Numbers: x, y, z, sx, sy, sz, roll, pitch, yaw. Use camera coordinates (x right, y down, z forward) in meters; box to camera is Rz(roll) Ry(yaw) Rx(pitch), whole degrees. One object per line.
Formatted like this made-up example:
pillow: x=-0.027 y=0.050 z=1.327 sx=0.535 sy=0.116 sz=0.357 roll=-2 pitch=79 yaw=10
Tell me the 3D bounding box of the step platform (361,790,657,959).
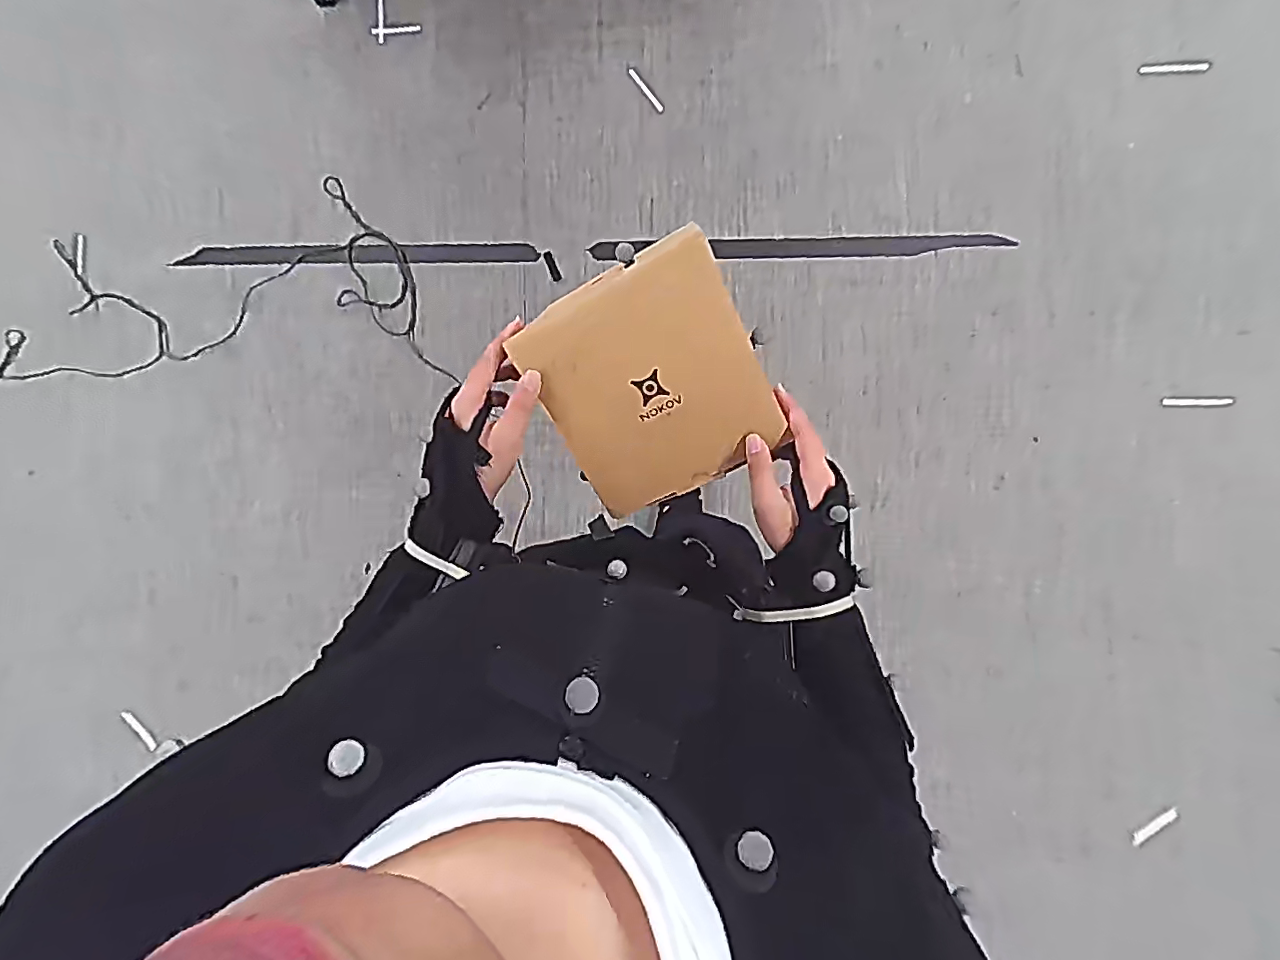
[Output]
step platform: x=-0.303 y=0.951 z=1.298 sx=0.684 sy=0.204 sz=0.286 roll=0 pitch=90 yaw=3
